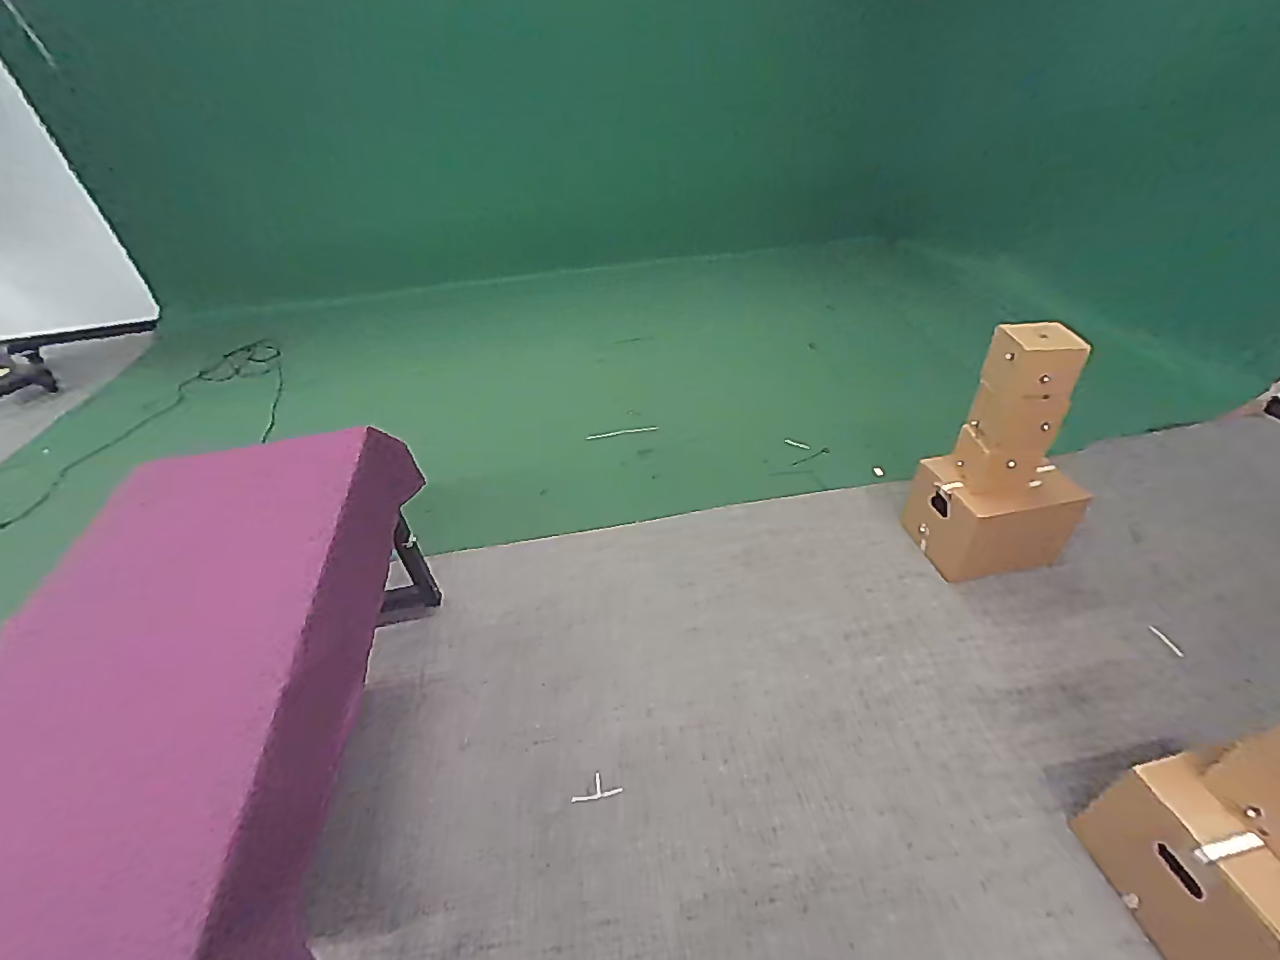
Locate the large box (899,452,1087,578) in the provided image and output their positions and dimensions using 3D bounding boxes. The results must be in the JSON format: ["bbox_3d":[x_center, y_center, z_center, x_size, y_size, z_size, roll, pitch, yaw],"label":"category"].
[{"bbox_3d":[1.206,0.101,1.894,0.408,0.320,0.320,-9,40,-6],"label":"large box"}]

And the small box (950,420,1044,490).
[{"bbox_3d":[1.138,-0.081,1.740,0.179,0.176,0.168,-3,39,3],"label":"small box"}]

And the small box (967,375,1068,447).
[{"bbox_3d":[1.135,-0.211,1.642,0.179,0.176,0.168,-1,38,6],"label":"small box"}]

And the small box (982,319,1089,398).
[{"bbox_3d":[1.118,-0.344,1.545,0.168,0.176,0.179,0,39,6],"label":"small box"}]
